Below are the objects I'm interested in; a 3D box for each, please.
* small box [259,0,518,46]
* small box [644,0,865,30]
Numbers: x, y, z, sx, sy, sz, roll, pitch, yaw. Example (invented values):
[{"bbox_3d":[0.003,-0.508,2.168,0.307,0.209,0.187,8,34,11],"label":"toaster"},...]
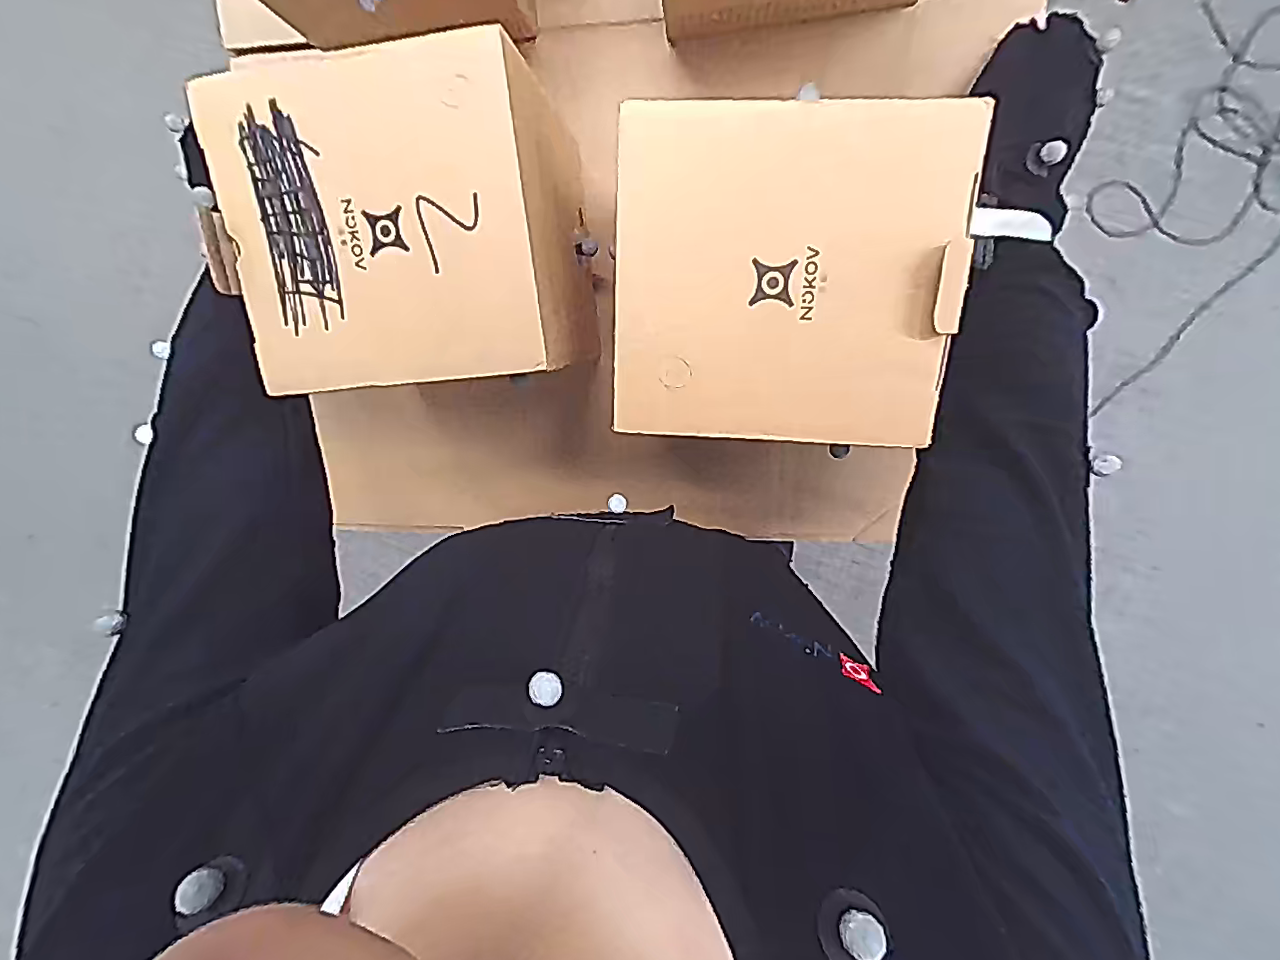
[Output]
[{"bbox_3d":[-0.179,-0.393,0.316,0.168,0.176,0.179,-1,103,6],"label":"small box"},{"bbox_3d":[0.079,-0.384,0.286,0.179,0.176,0.168,-1,104,8],"label":"small box"}]
